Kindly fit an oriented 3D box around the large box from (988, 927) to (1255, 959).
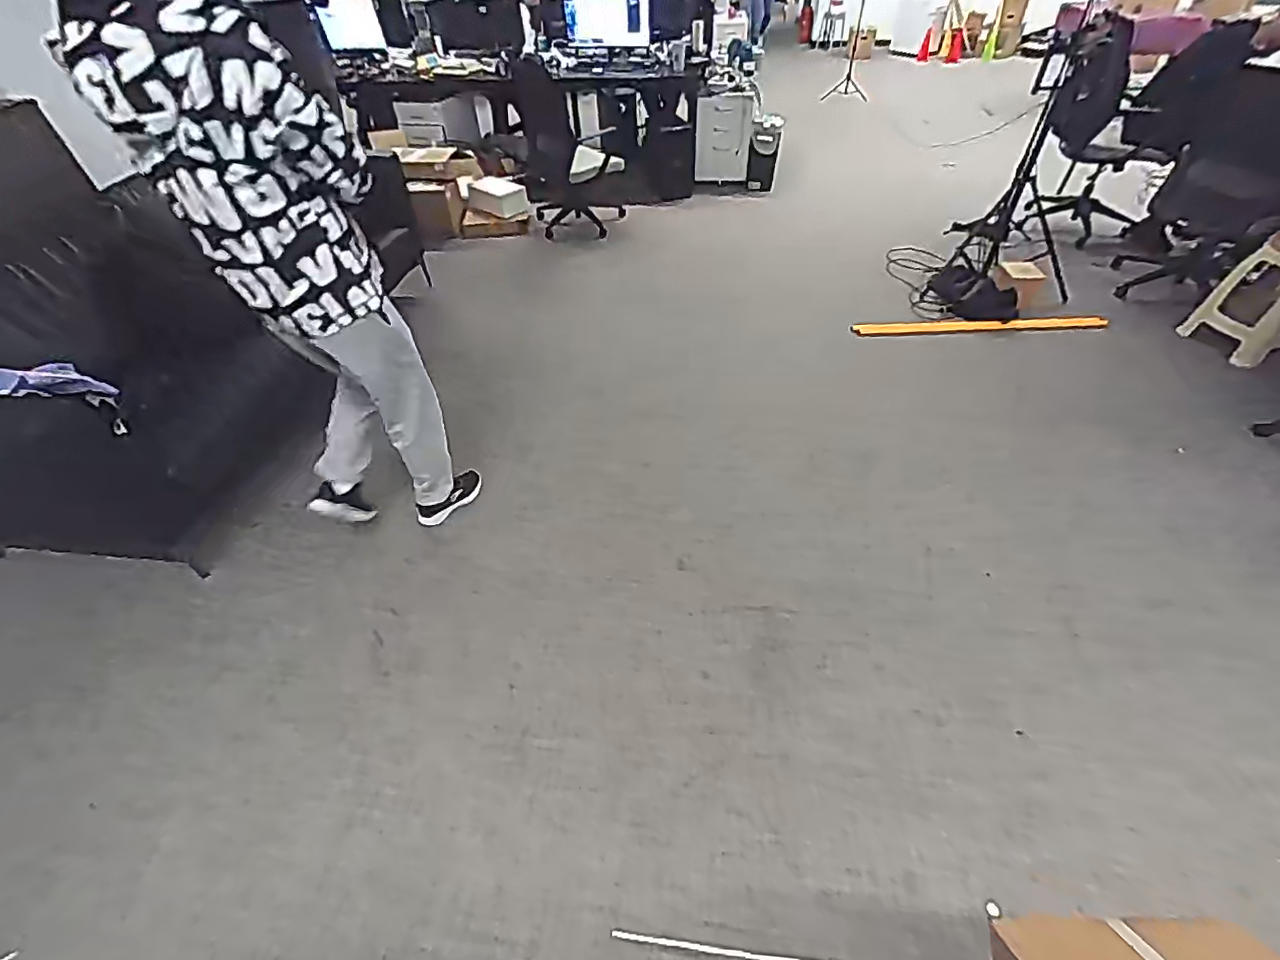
[{"bbox_3d":[0.624,0.746,0.525,0.320,0.408,0.320,-2,83,6],"label":"large box"}]
